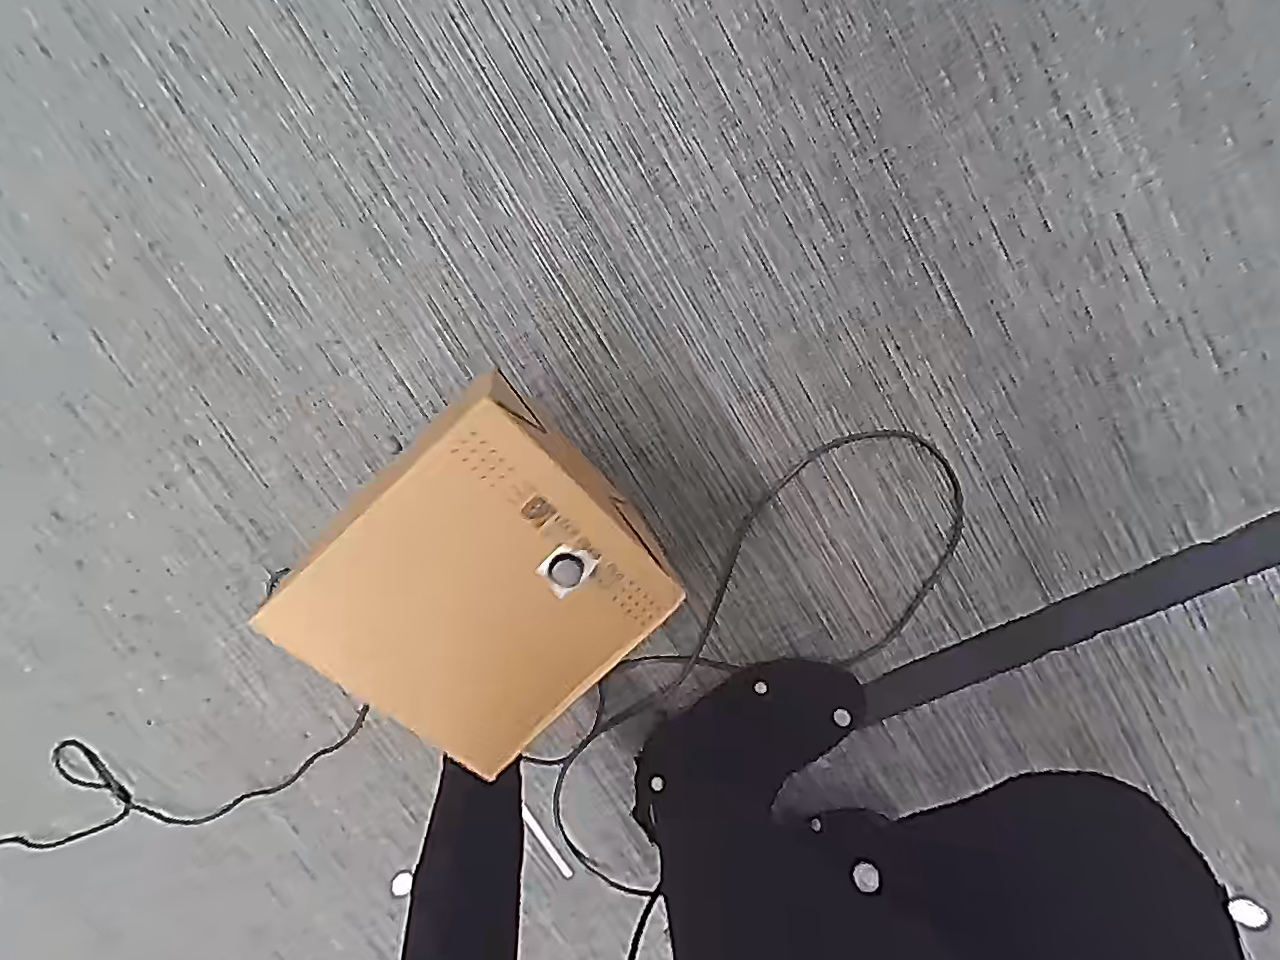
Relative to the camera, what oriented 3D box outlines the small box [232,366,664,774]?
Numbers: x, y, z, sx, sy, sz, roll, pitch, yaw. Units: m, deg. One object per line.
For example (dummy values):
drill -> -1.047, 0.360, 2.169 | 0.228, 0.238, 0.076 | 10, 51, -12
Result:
small box -> -0.106, 0.042, 0.367 | 0.176, 0.179, 0.168 | -44, 110, 3
